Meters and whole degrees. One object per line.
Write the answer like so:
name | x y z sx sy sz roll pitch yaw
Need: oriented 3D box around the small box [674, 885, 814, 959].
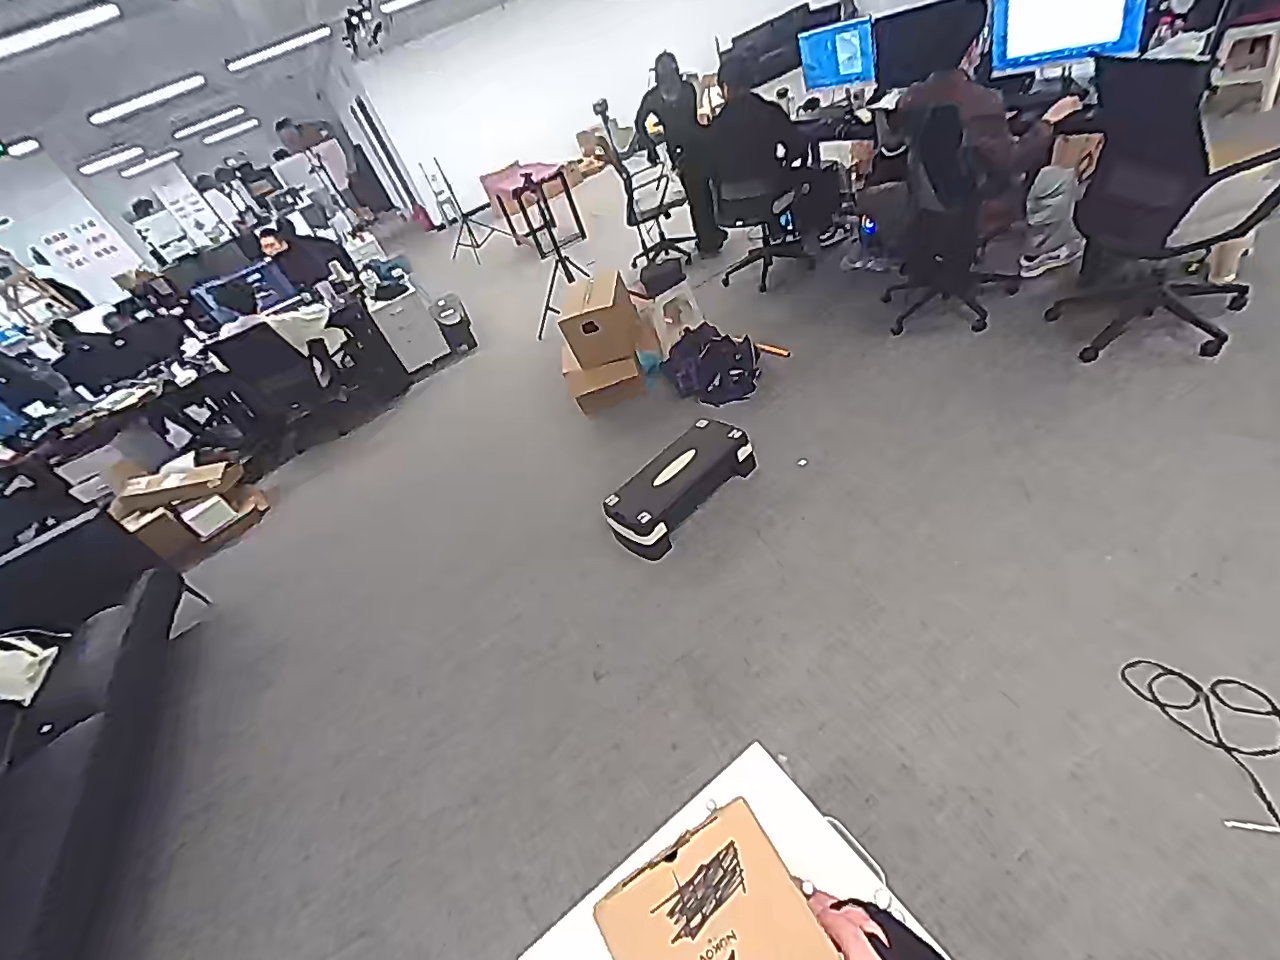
small box | 0.155 0.649 0.650 0.168 0.176 0.179 -32 36 -14
